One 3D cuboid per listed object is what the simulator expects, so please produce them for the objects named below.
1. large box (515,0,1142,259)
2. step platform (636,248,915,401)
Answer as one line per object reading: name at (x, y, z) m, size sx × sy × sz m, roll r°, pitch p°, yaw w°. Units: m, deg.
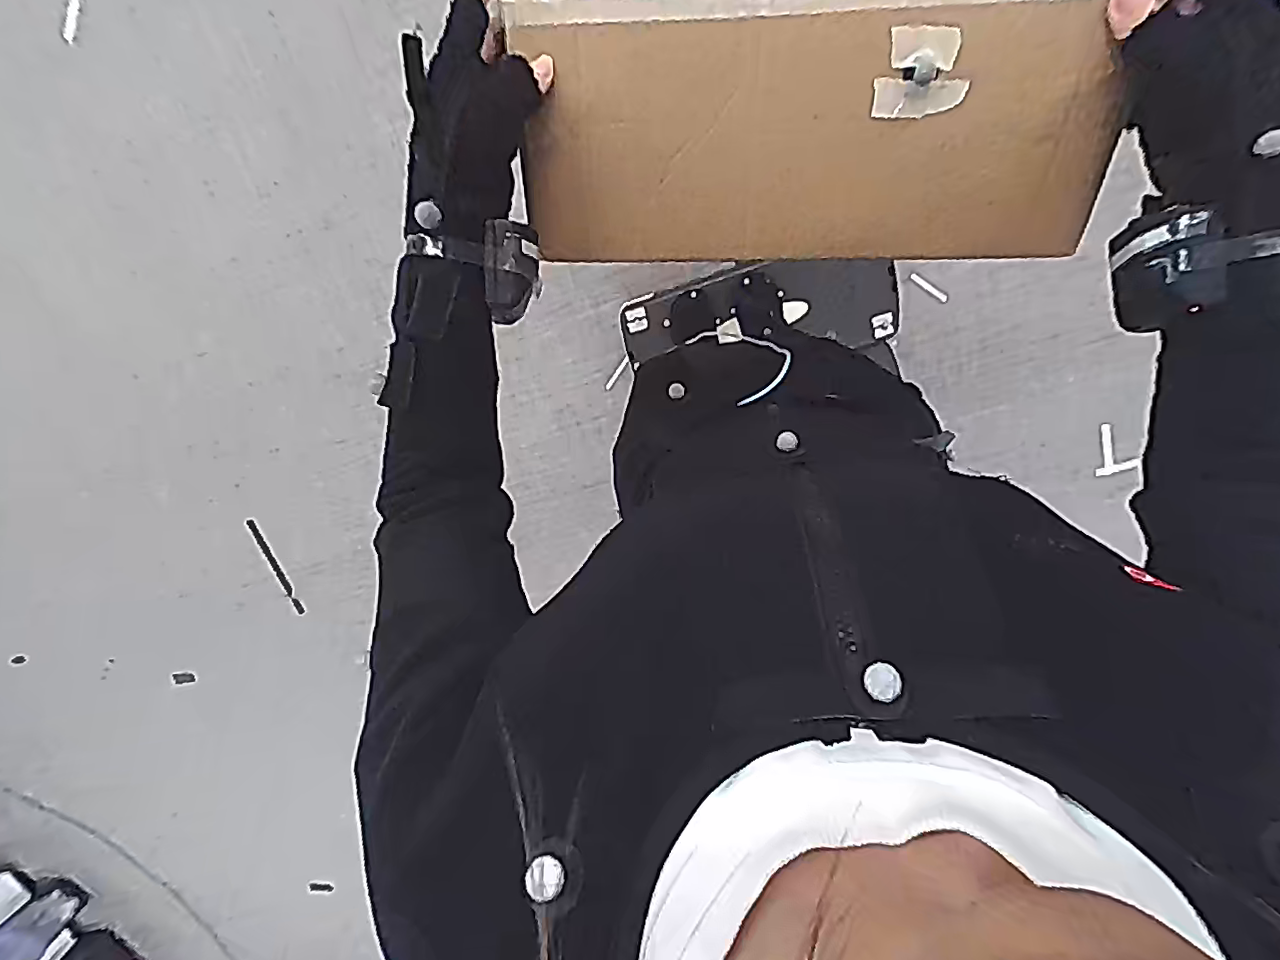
large box at (0.122, -0.388, 0.472) m, size 0.408 × 0.320 × 0.320 m, roll 1°, pitch 122°, yaw 4°
step platform at (0.334, -0.438, 1.410) m, size 0.684 × 0.204 × 0.286 m, roll -17°, pitch 109°, yaw 11°
